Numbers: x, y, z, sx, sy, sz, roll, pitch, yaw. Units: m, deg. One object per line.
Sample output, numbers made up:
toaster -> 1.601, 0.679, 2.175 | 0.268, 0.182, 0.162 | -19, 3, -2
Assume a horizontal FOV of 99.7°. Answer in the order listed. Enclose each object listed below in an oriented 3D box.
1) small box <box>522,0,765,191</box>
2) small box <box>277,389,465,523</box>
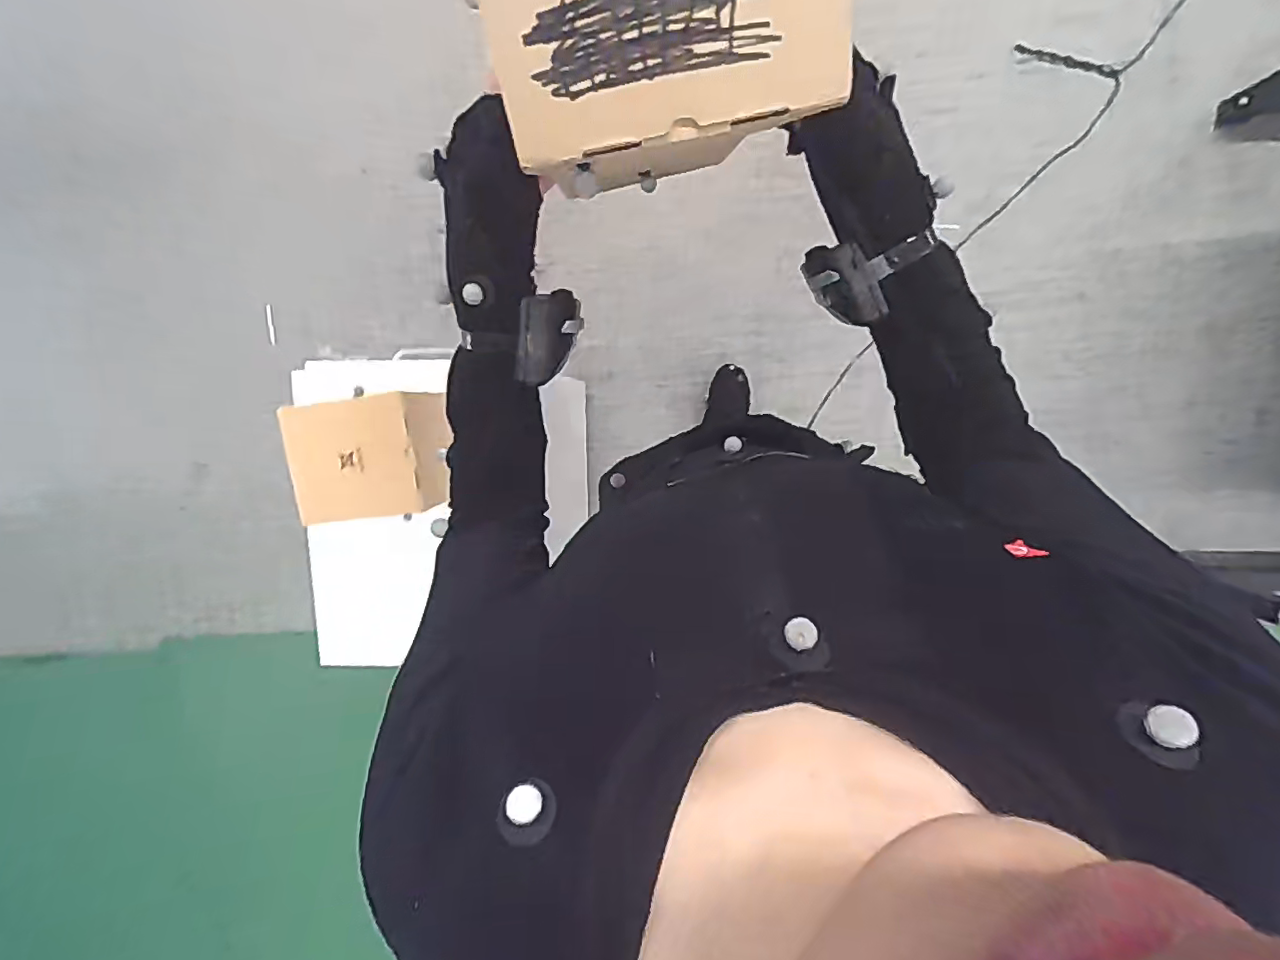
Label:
small box -> -0.004, -0.365, 0.452 | 0.168, 0.176, 0.179 | -11, 110, 2
small box -> -0.385, -0.039, 0.802 | 0.179, 0.176, 0.168 | -7, 97, 4
